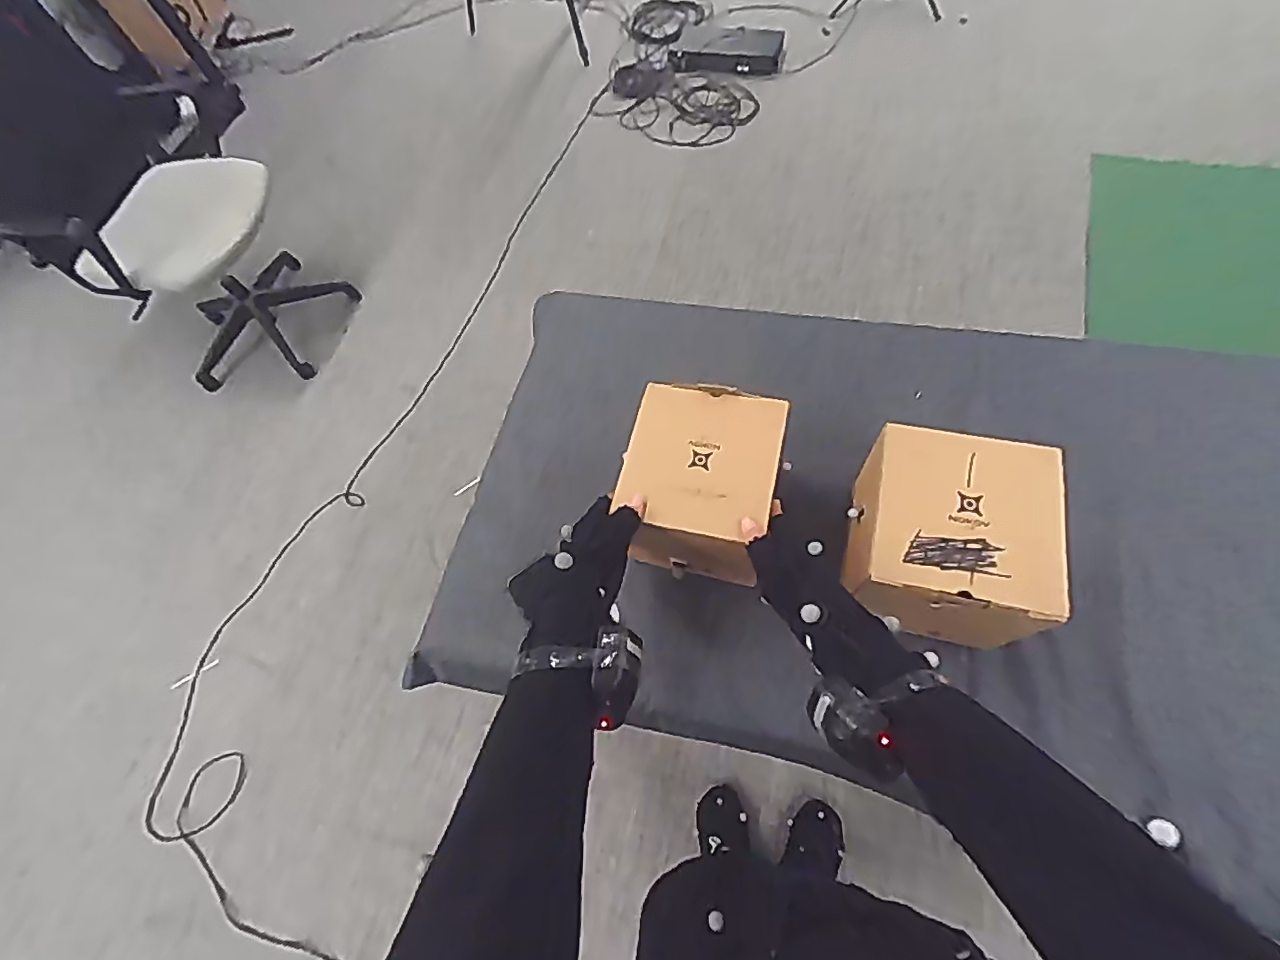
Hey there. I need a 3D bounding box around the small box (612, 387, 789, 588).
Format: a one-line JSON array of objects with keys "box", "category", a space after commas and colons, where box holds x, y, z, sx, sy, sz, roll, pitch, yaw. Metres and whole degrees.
[{"box": [0.079, 0.014, 0.657, 0.168, 0.176, 0.179, 9, 67, 14], "category": "small box"}]

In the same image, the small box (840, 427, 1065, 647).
[{"box": [0.324, 0.069, 0.589, 0.168, 0.176, 0.179, 11, 66, 14], "category": "small box"}]
